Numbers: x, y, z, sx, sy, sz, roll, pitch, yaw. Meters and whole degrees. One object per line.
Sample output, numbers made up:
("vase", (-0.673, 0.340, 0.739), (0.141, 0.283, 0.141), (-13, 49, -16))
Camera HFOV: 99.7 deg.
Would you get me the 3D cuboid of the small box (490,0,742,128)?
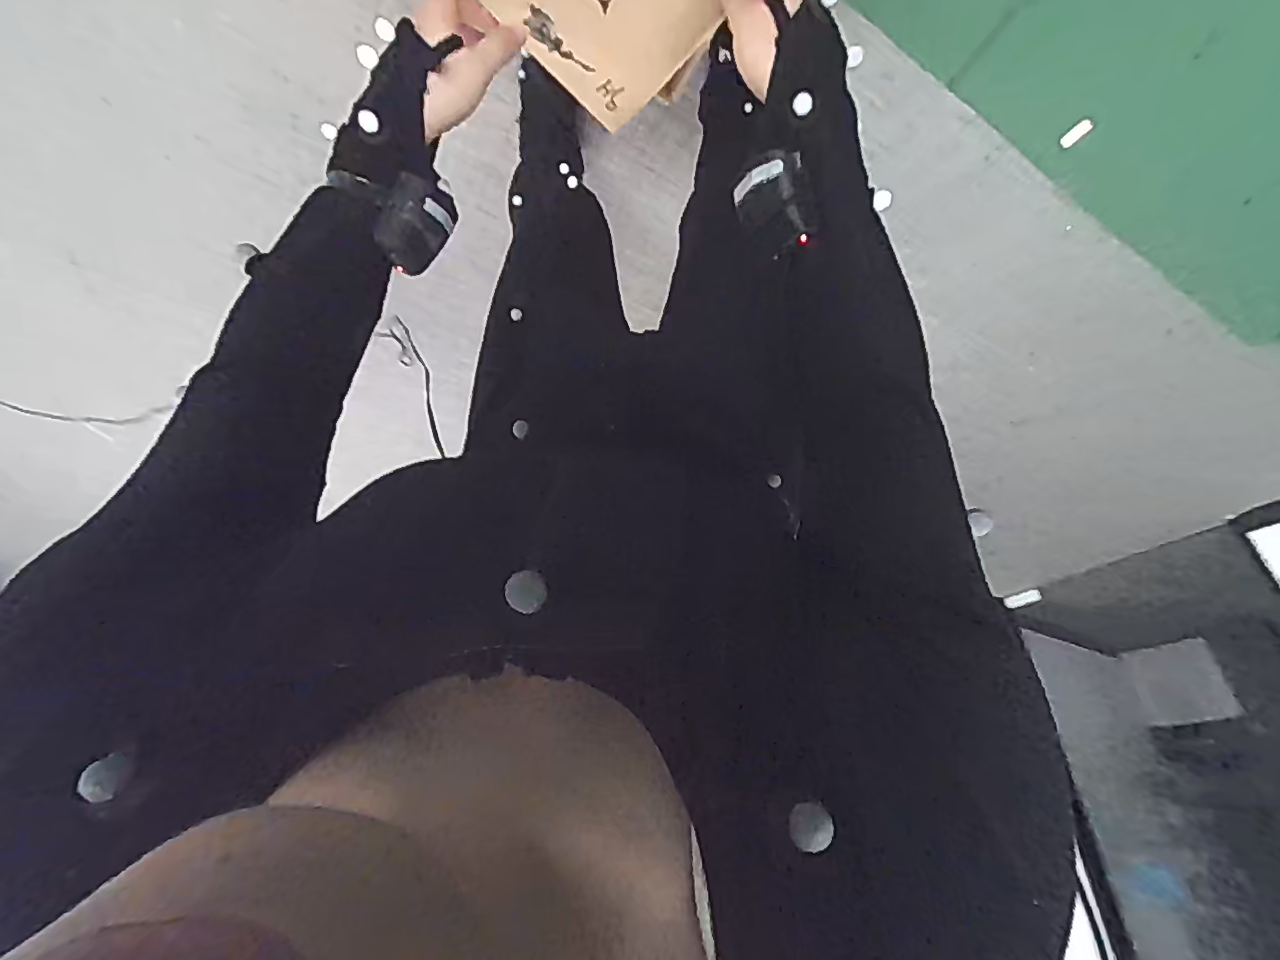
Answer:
("small box", (-0.018, -0.469, 0.462), (0.179, 0.176, 0.168), (-24, 144, 38))
